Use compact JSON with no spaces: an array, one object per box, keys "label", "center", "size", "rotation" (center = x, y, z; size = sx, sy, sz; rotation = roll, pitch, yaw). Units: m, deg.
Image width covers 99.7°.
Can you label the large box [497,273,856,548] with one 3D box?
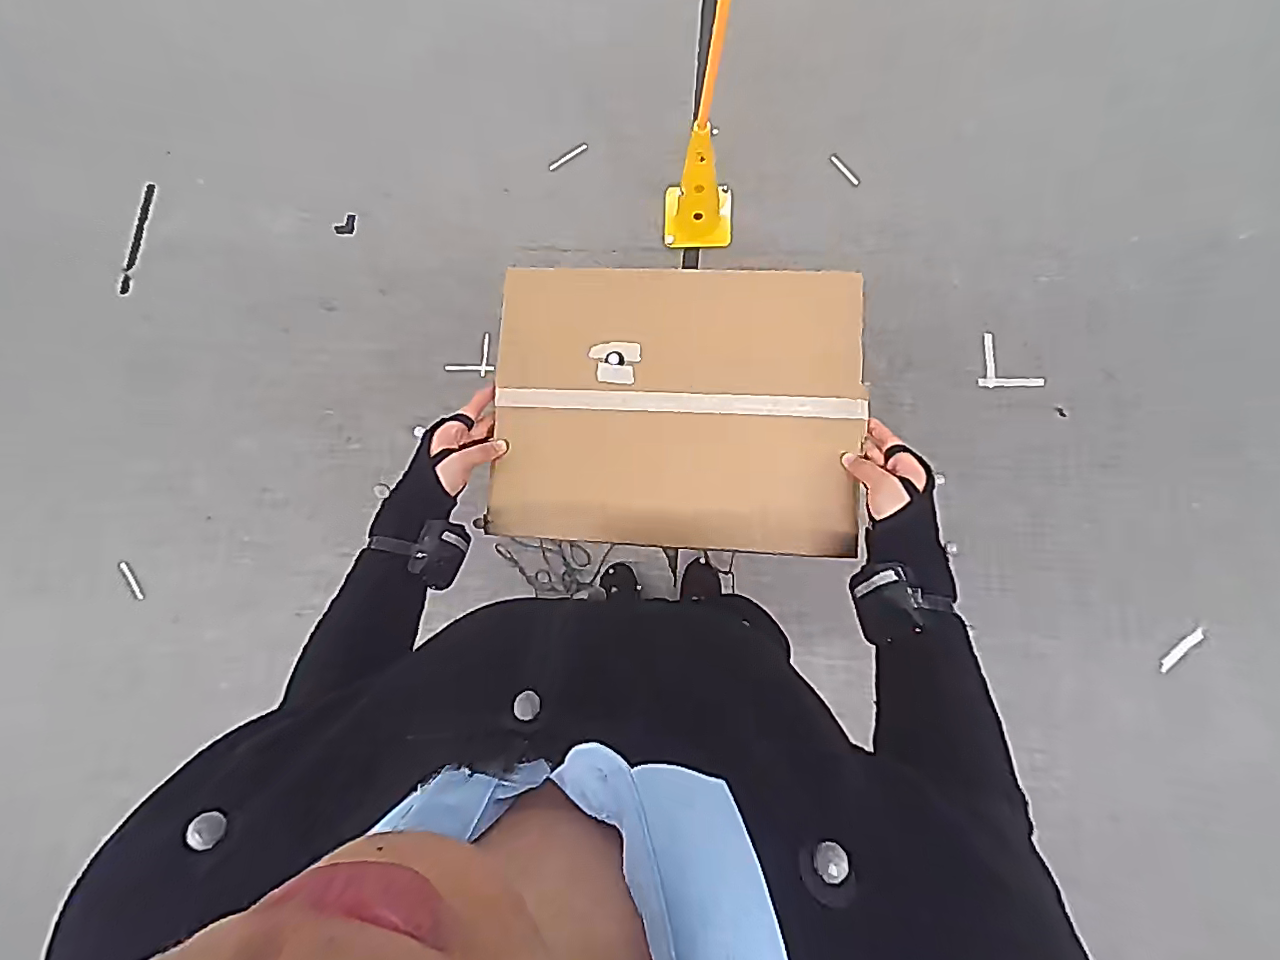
[{"label":"large box","center":[0.055,-0.069,0.759],"size":[0.408,0.320,0.320],"rotation":[2,83,6]}]
